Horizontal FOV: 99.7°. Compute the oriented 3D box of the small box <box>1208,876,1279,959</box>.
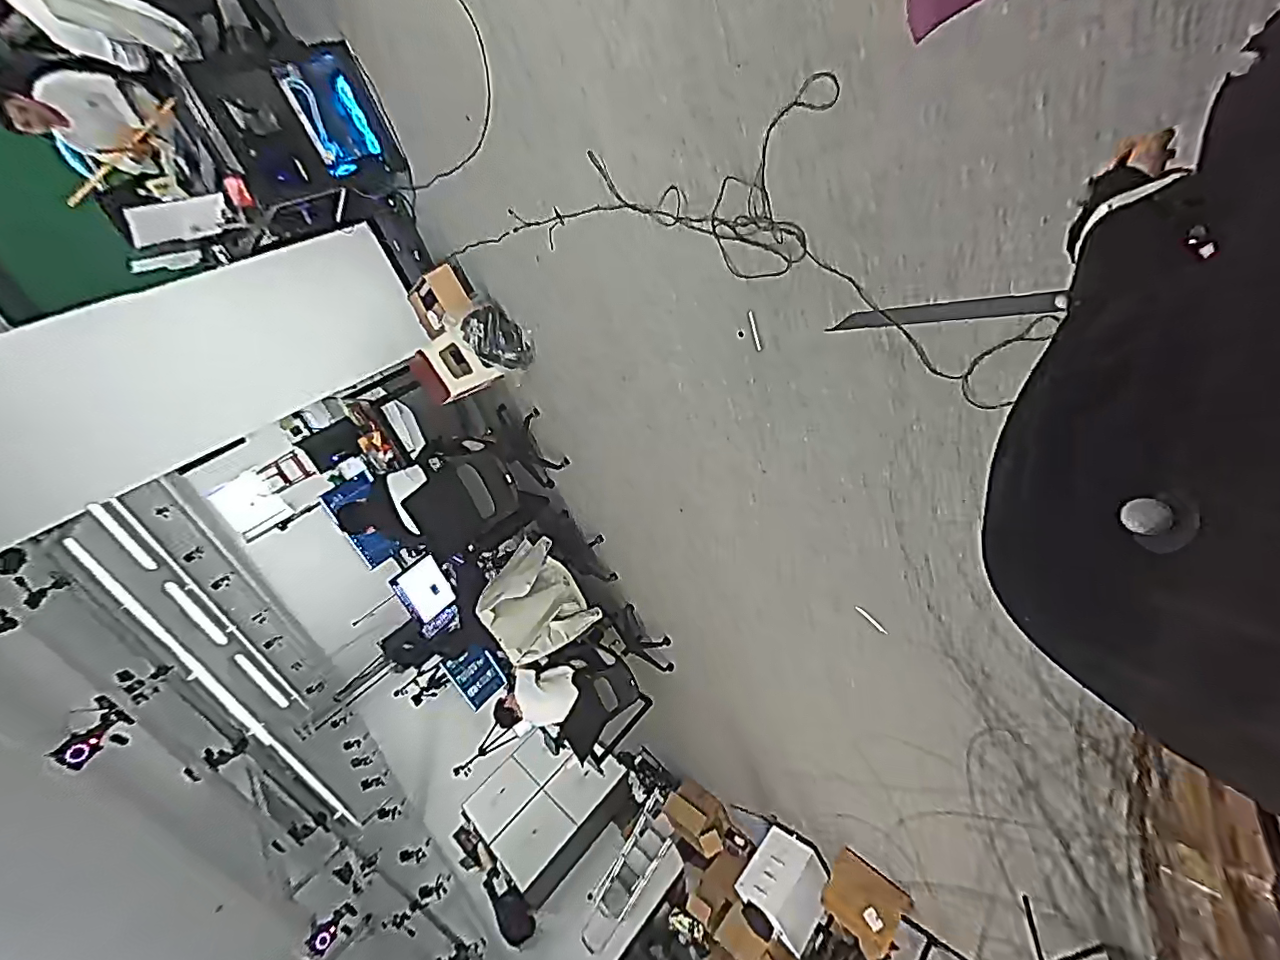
[{"bbox_3d":[1.570,1.153,1.353,0.179,0.176,0.168,11,130,49],"label":"small box"}]
